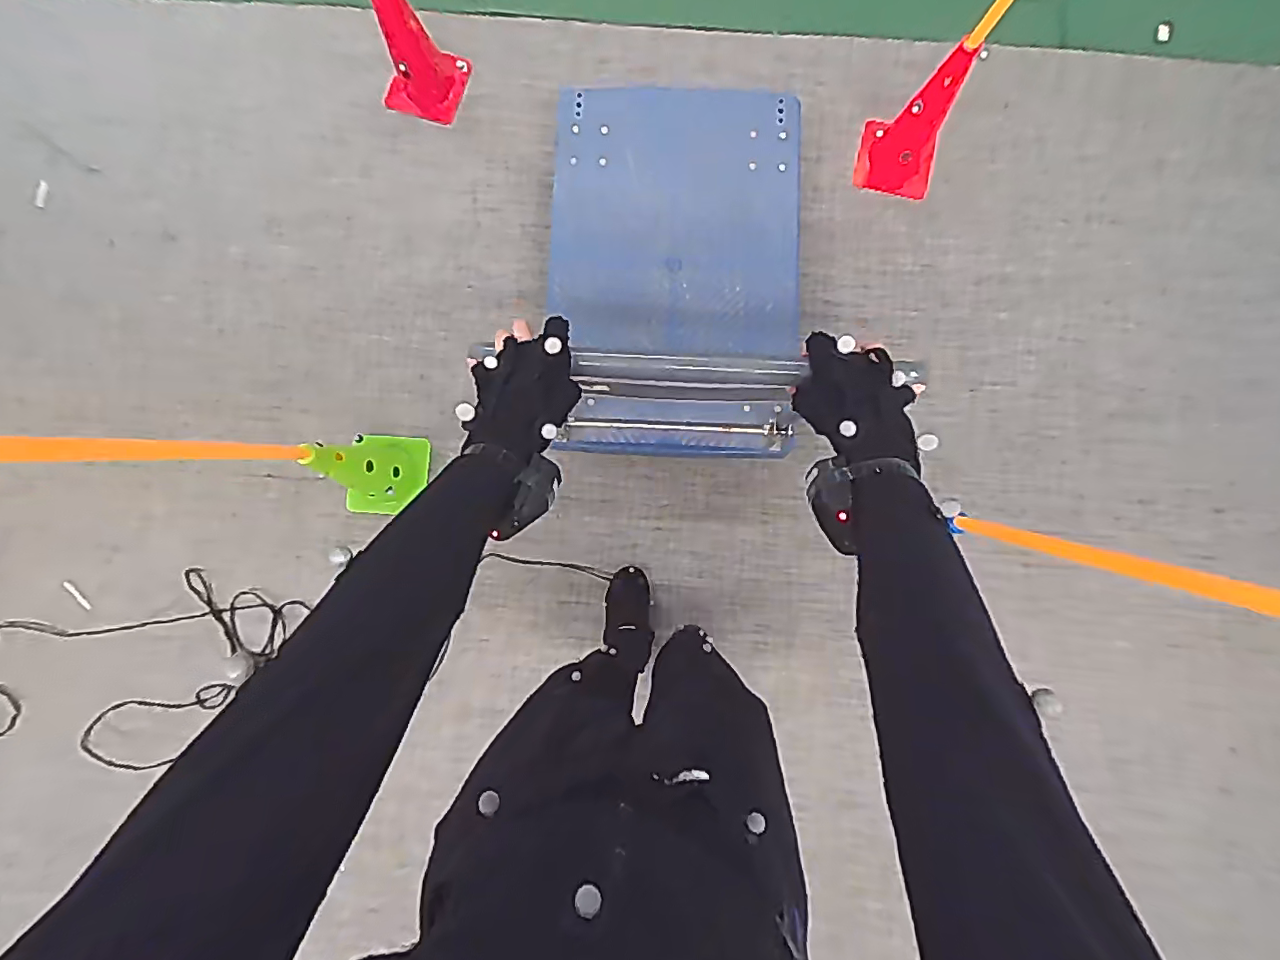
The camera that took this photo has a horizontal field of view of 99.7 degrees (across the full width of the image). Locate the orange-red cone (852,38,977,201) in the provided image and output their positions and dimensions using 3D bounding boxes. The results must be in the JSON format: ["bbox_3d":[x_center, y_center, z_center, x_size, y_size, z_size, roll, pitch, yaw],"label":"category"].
[{"bbox_3d":[0.684,-0.877,1.290,0.198,0.360,0.199,15,85,3],"label":"orange-red cone"}]
